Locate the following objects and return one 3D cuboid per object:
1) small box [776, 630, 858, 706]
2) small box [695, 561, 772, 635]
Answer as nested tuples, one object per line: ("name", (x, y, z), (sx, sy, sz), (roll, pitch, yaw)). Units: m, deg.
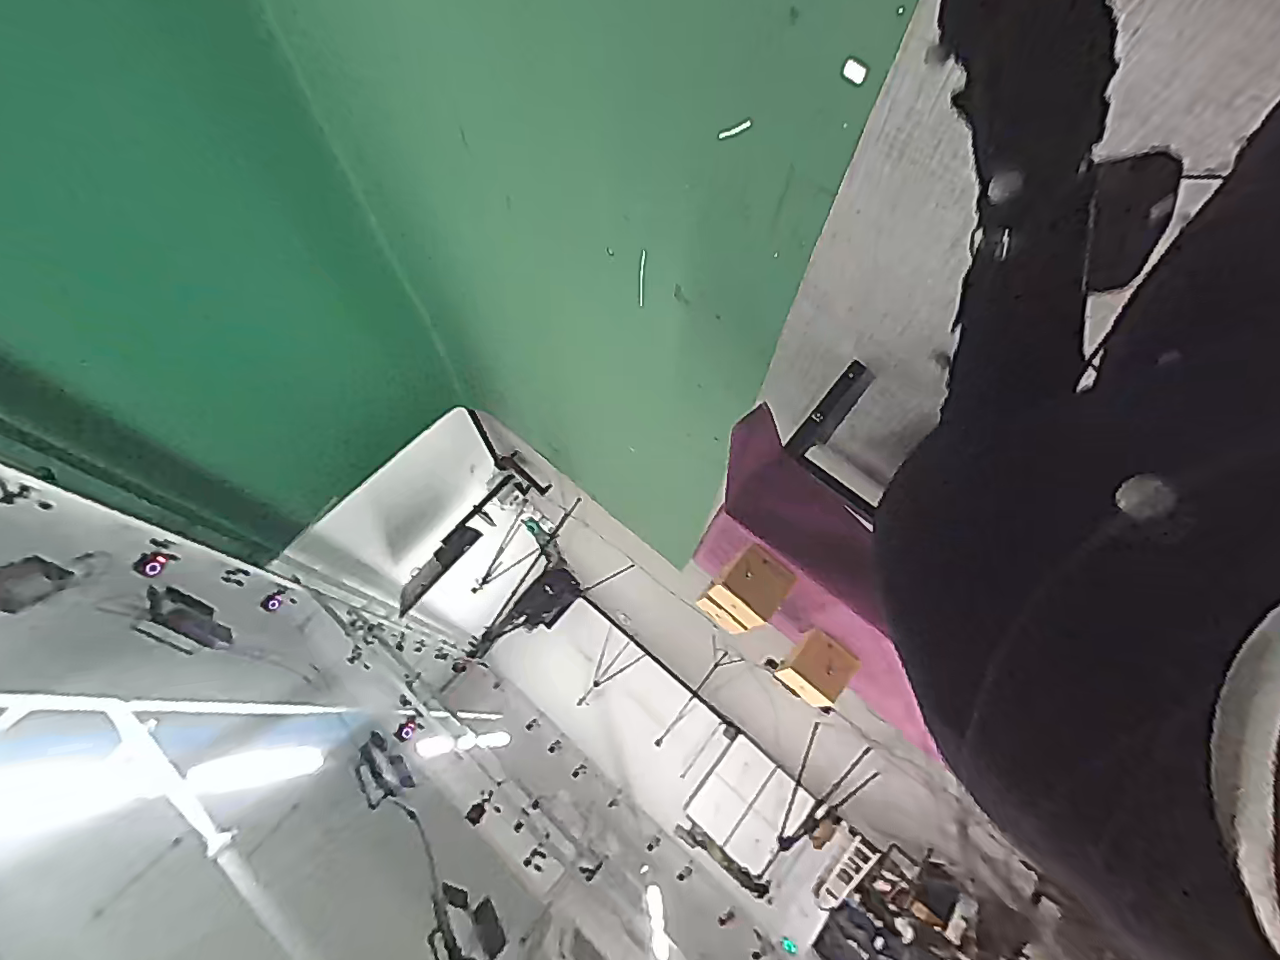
("small box", (0.573, 0.605, 1.745), (0.168, 0.176, 0.179), (38, 161, 13))
("small box", (0.313, 0.390, 1.797), (0.168, 0.176, 0.179), (41, 160, 7))
